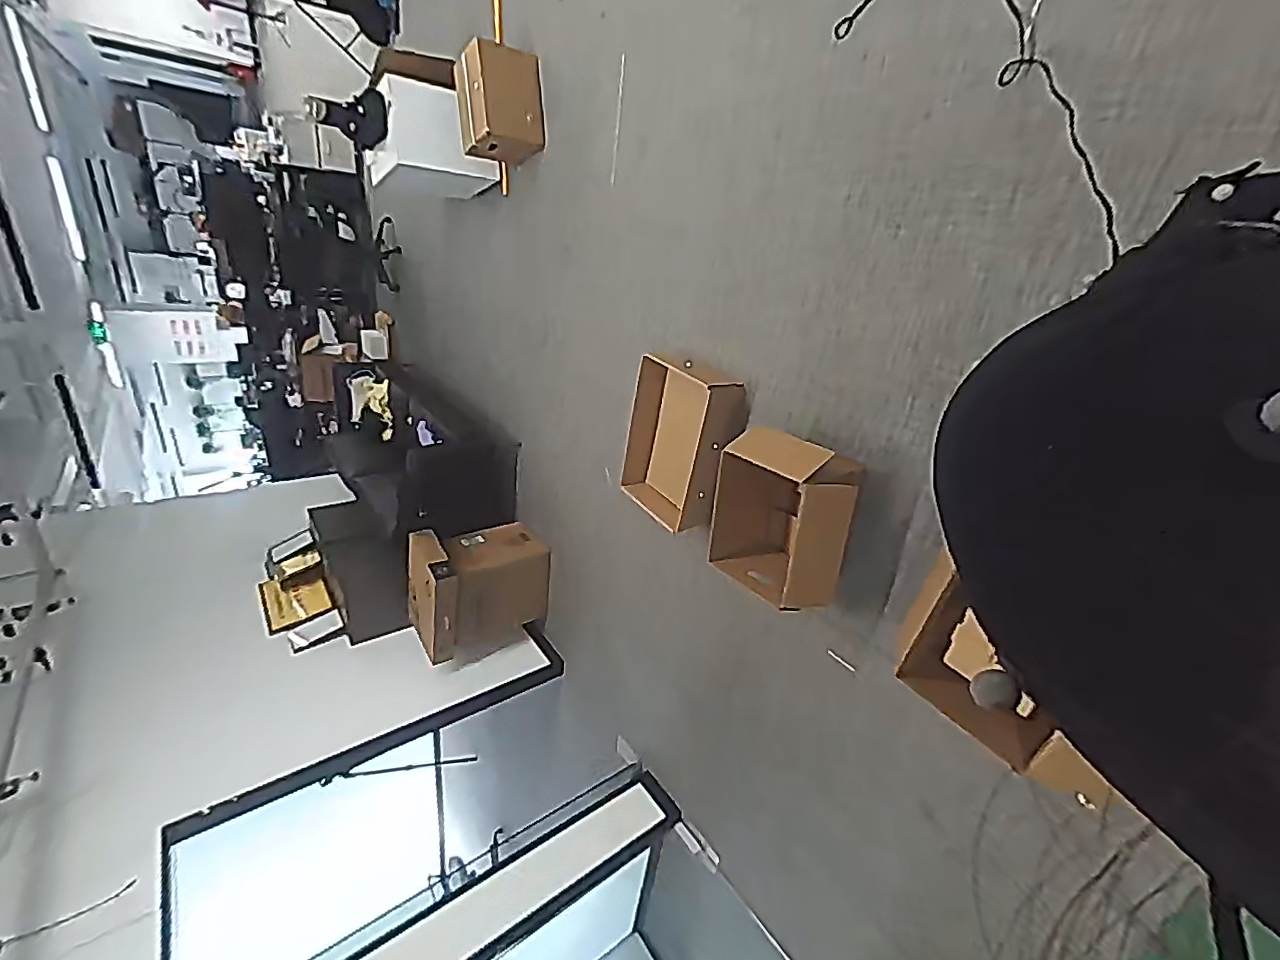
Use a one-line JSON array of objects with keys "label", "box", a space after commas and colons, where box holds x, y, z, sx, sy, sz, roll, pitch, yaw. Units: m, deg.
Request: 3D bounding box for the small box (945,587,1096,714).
[{"label": "small box", "box": [0.796, 0.345, 1.137, 0.179, 0.176, 0.168, 39, 131, 45]}]
